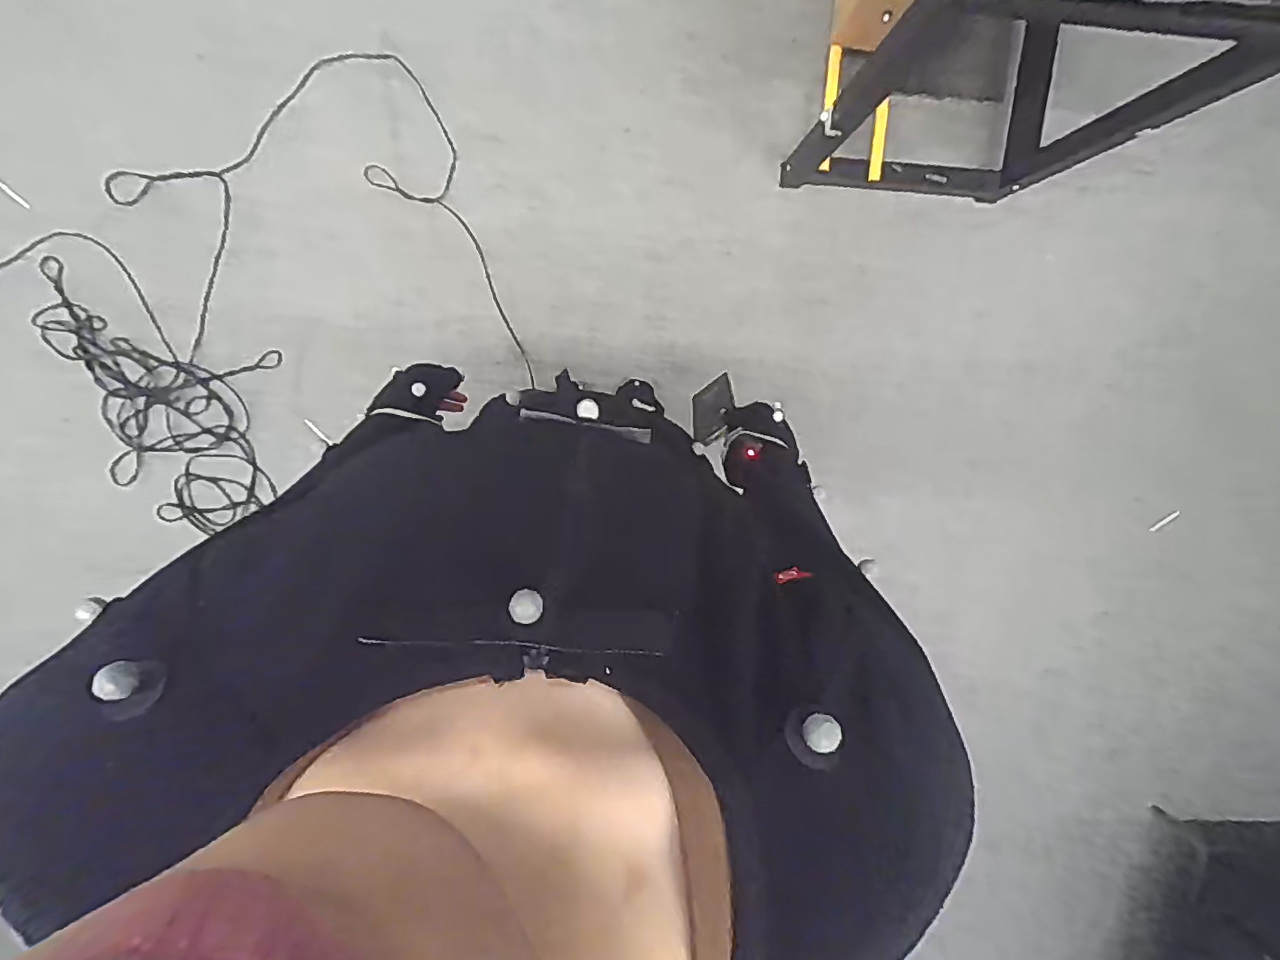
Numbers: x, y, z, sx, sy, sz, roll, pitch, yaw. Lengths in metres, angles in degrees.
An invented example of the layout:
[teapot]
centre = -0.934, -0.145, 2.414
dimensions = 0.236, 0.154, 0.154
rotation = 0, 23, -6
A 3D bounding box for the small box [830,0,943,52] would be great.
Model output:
[small box]
centre = 0.523, -1.046, 1.137
dimensions = 0.179, 0.176, 0.168
rotation = 6, 100, -4
